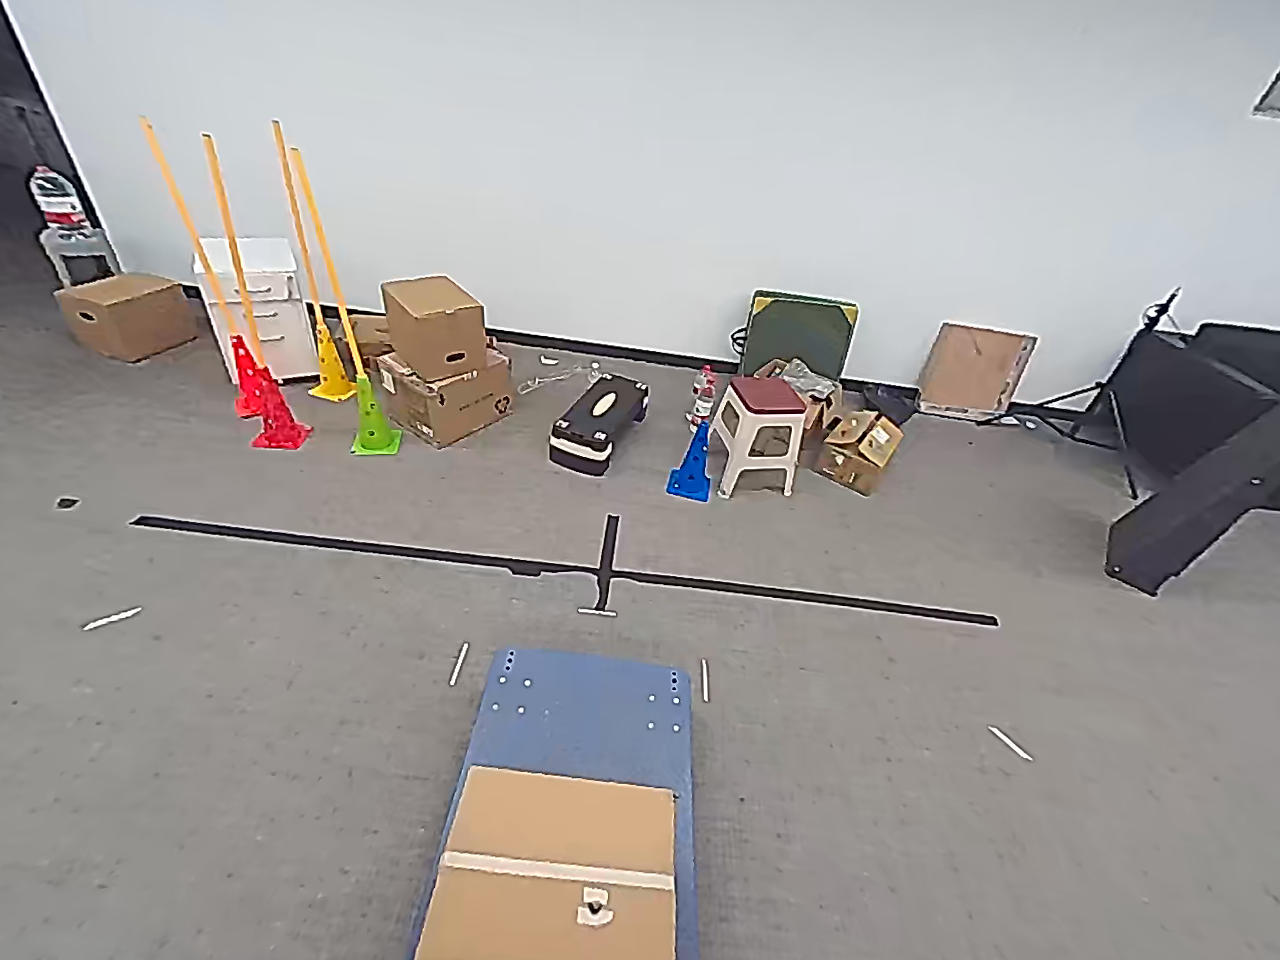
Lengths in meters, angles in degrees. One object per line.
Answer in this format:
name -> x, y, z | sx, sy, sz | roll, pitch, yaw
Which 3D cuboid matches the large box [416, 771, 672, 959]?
large box -> -0.166, 0.795, 1.020 | 0.408, 0.320, 0.320 | 9, 38, -3
